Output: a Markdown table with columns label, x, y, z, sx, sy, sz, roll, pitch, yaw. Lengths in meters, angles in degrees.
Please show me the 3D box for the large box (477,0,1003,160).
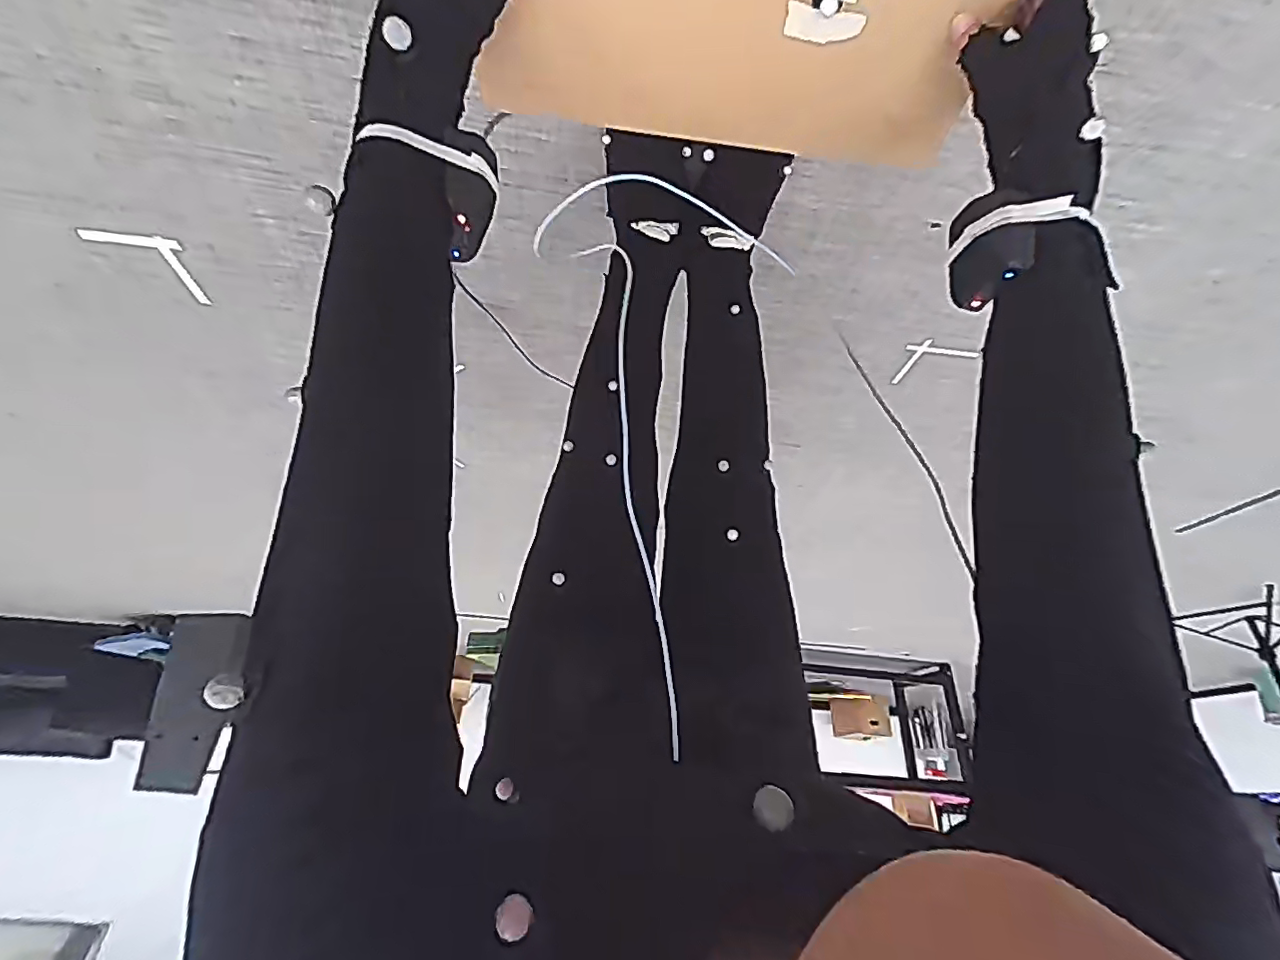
| label | x | y | z | sx | sy | sz | roll | pitch | yaw |
| --- | --- | --- | --- | --- | --- | --- | --- | --- | --- |
| large box | 0.083 | -0.519 | 0.436 | 0.408 | 0.320 | 0.320 | 6 | 152 | -3 |
